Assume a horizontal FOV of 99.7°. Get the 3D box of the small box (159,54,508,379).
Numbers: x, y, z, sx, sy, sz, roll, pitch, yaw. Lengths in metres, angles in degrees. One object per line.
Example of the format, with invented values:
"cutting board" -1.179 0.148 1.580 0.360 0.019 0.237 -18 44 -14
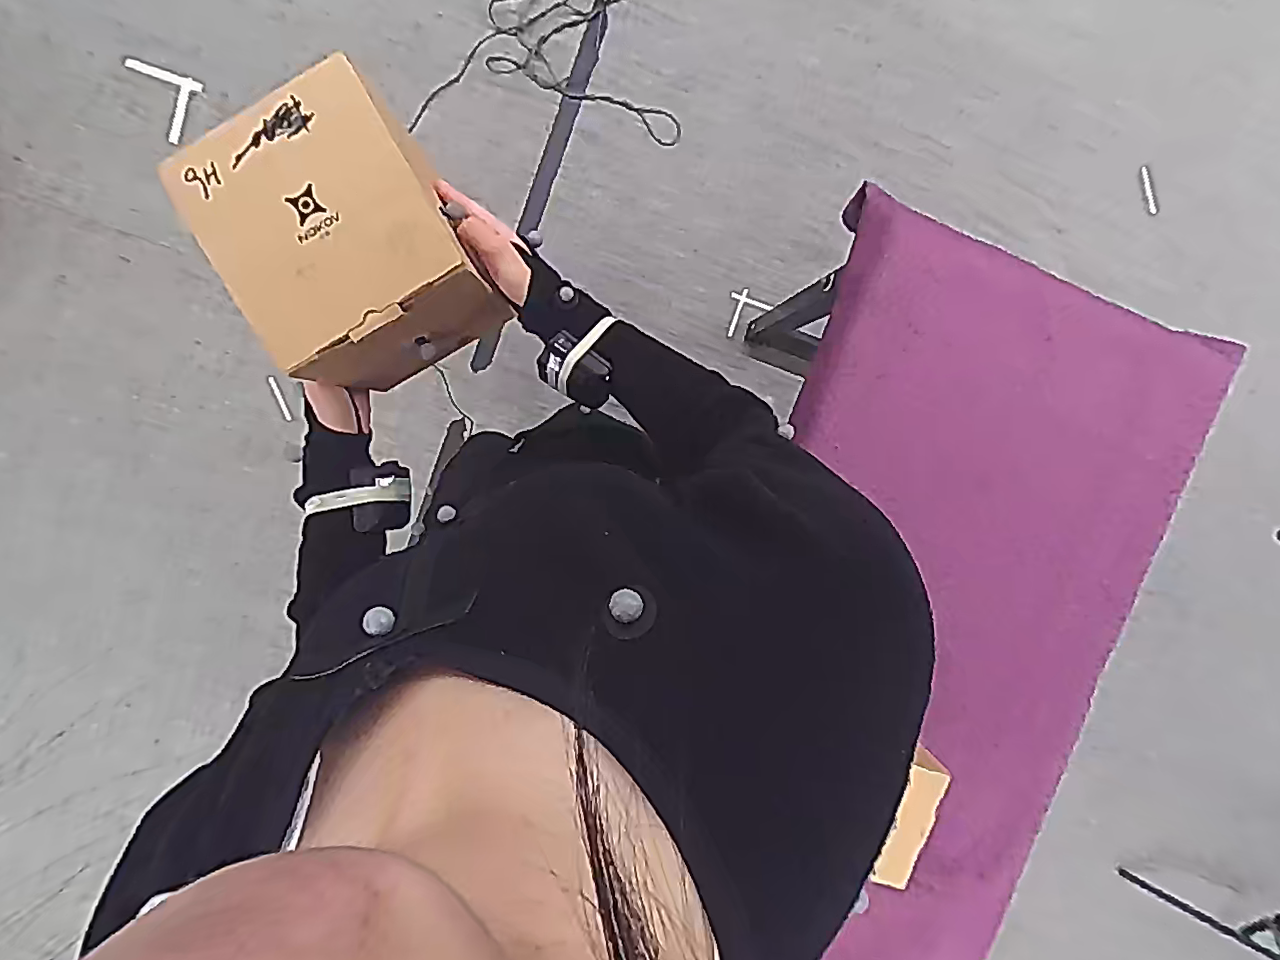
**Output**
"small box" -0.239 -0.200 0.476 0.168 0.176 0.179 -30 95 2
